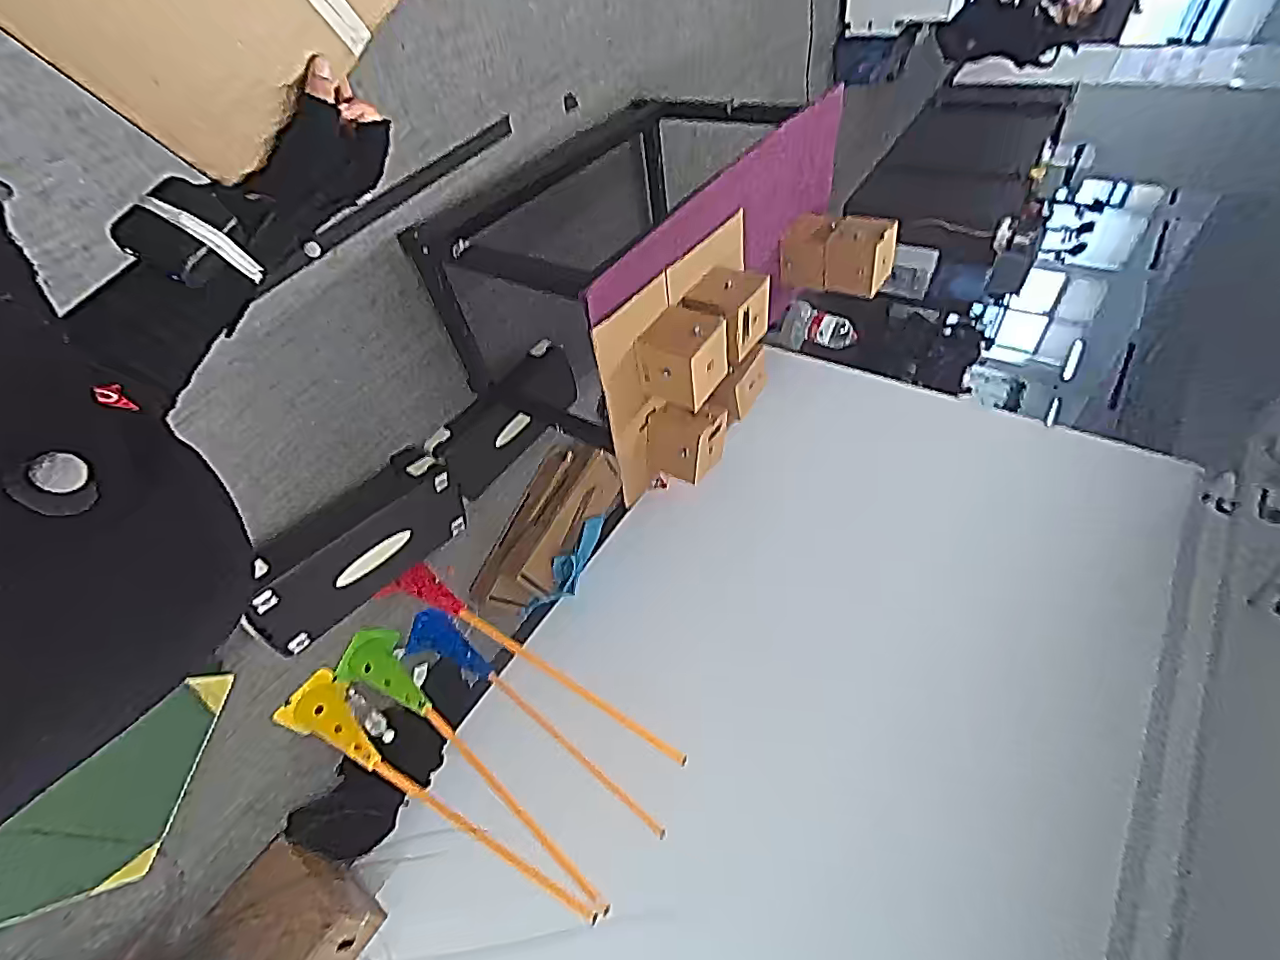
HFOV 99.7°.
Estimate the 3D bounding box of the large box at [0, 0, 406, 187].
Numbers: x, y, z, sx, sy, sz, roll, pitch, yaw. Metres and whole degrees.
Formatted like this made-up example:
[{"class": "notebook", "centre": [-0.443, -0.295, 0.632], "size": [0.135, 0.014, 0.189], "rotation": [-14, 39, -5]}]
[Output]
[{"class": "large box", "centre": [-0.398, -0.490, 0.329], "size": [0.320, 0.320, 0.408], "rotation": [-50, 154, 1]}]
